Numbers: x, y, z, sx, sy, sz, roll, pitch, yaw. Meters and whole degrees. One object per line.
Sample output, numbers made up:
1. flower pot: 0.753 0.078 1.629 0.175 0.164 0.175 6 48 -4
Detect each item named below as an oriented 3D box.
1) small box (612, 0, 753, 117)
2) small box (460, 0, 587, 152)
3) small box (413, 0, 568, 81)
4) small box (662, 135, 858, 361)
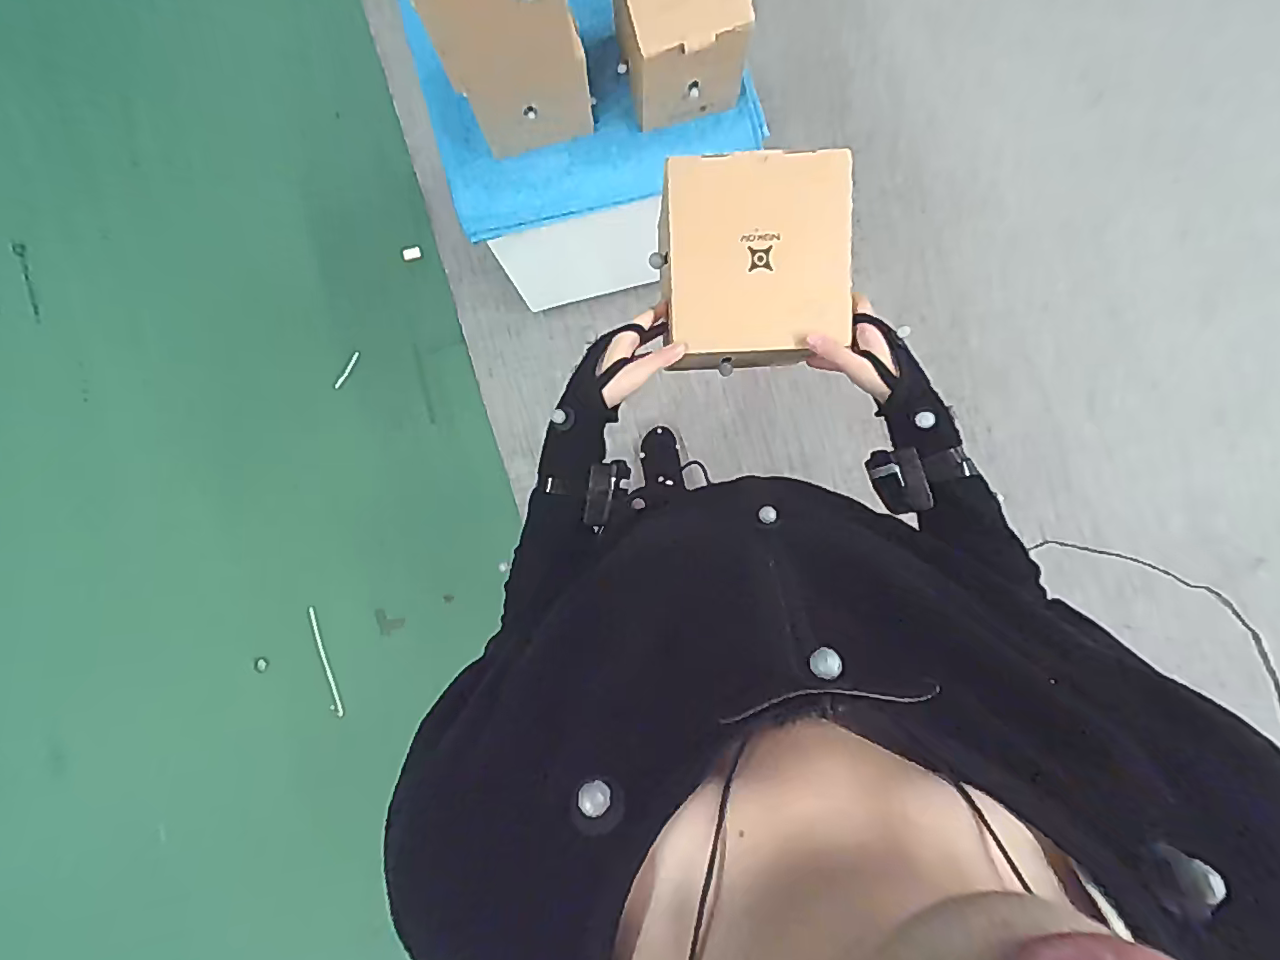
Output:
1. small box: 0.056 -0.686 0.812 0.168 0.176 0.179 -16 91 0
2. small box: -0.182 -0.638 0.812 0.179 0.176 0.168 -16 90 0
3. small box: -0.191 -0.633 0.648 0.179 0.176 0.168 -16 90 0
4. small box: 0.109 -0.217 0.555 0.168 0.176 0.179 -2 95 0
